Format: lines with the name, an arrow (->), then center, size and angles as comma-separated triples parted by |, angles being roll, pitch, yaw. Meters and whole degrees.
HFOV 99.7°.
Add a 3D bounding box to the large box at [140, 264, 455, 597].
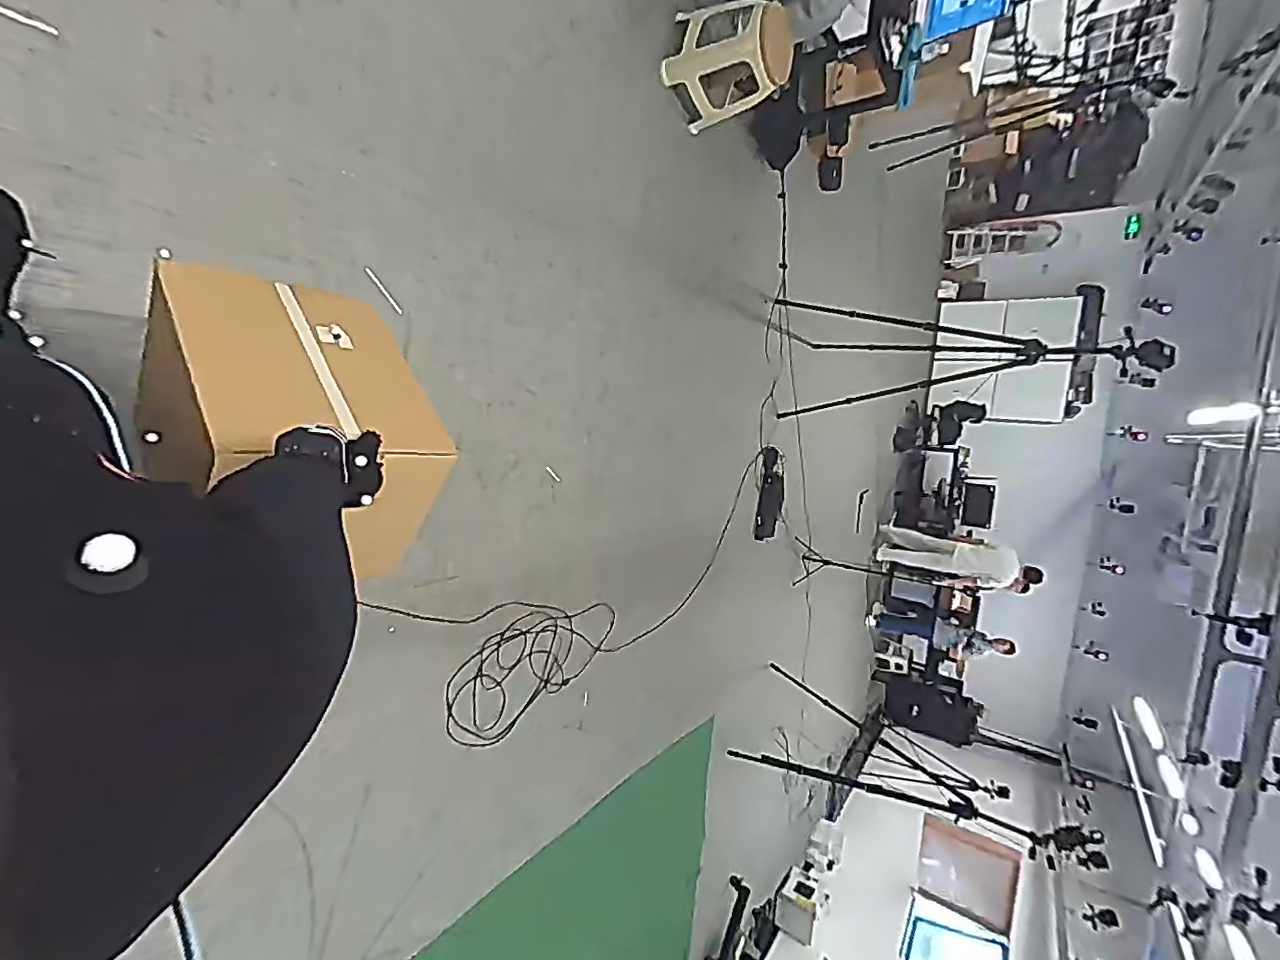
large box -> -0.579, -0.078, 0.897 | 0.320, 0.408, 0.320 | -2, 138, -52
